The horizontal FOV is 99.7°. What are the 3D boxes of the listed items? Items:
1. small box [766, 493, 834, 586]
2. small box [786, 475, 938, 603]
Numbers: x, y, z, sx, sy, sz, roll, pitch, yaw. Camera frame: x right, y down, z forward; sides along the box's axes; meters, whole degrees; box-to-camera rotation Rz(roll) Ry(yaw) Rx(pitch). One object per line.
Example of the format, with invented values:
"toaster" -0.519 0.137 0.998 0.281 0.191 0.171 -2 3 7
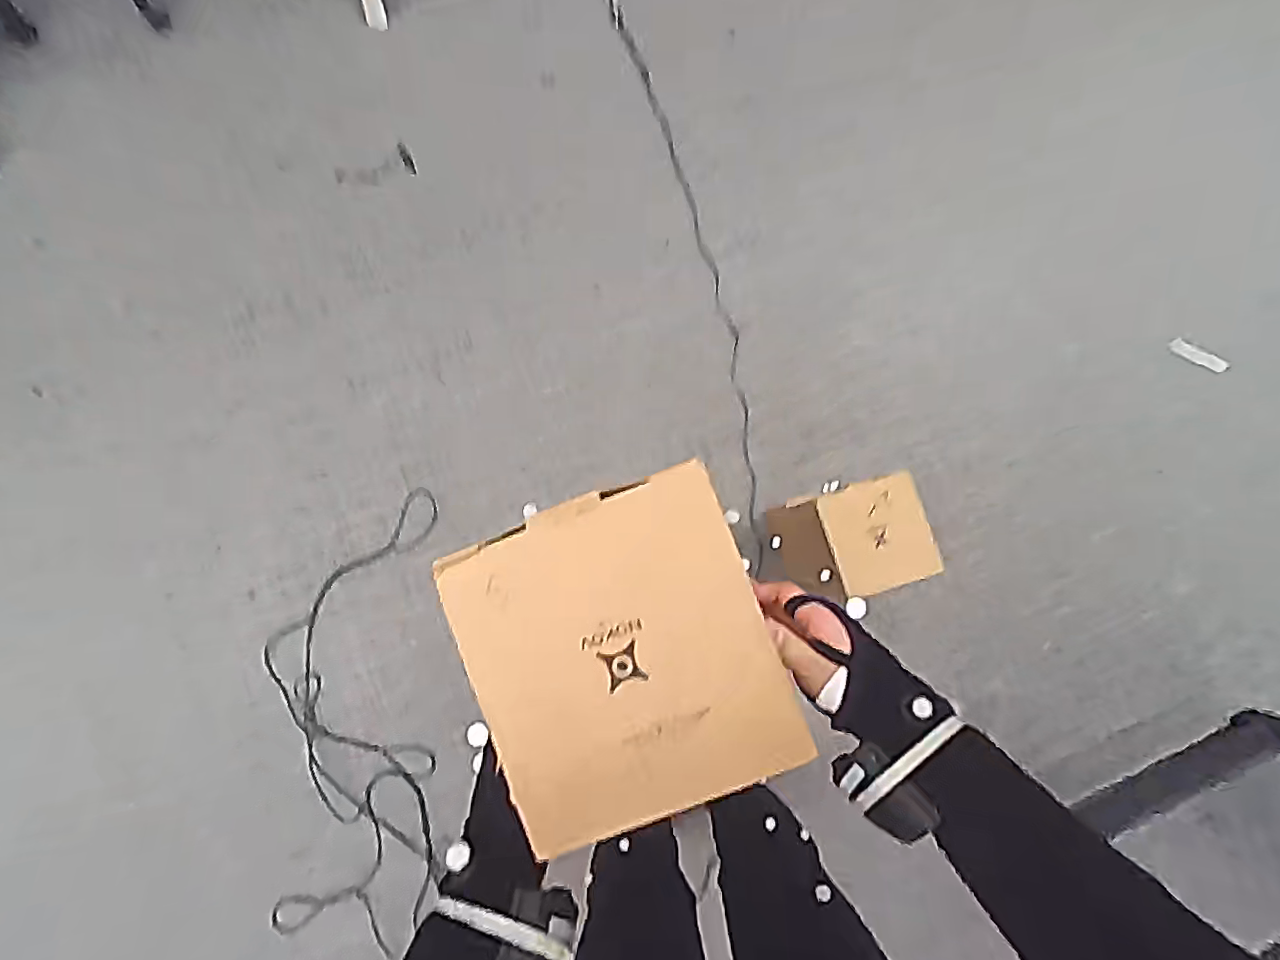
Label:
"small box" 0.382 0.118 1.127 0.179 0.176 0.168 -14 82 -2
"small box" 0.382 0.105 0.962 0.168 0.176 0.179 -17 82 -4
